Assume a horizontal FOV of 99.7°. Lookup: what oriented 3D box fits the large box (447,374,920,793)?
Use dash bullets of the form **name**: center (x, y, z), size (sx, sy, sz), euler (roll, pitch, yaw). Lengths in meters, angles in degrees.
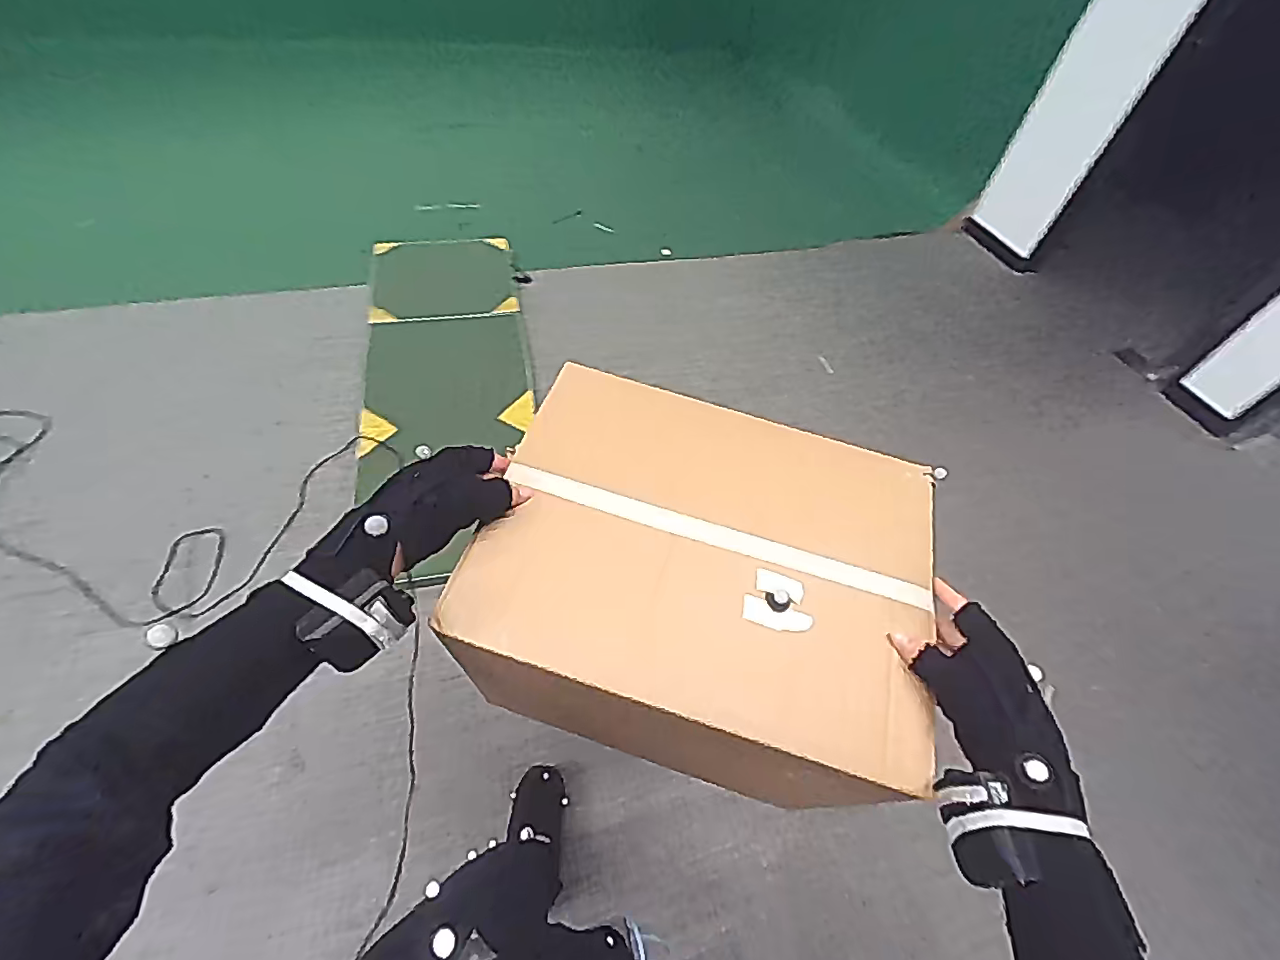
- **large box**: center (0.049, 0.134, 0.636), size (0.408, 0.320, 0.320), euler (17, 58, 3)
